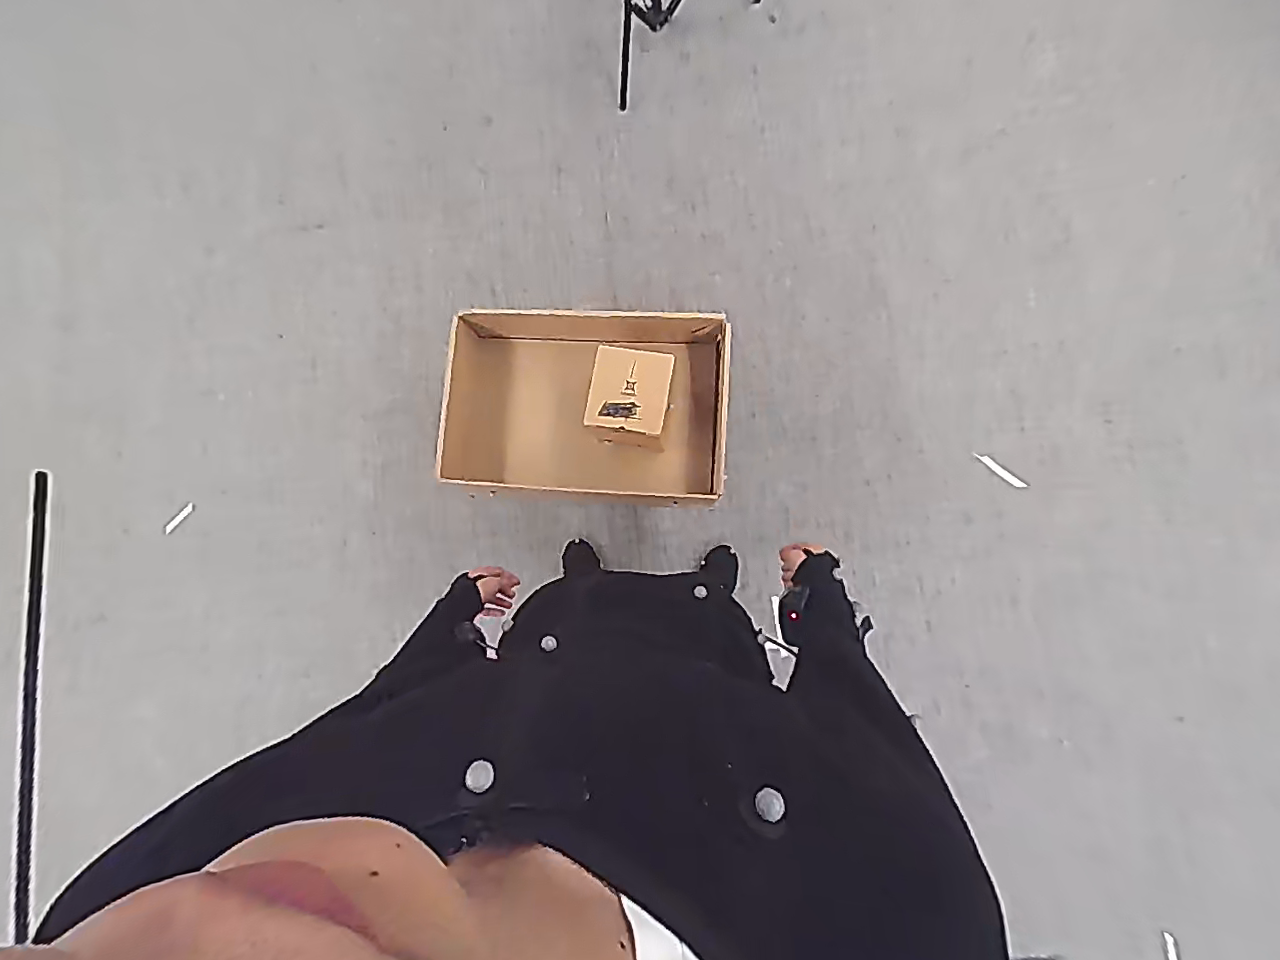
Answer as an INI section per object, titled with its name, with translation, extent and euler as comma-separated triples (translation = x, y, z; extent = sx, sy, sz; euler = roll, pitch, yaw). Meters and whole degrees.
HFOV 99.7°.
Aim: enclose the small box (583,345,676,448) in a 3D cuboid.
[small box]
translation = -0.014, -0.176, 1.194
extent = 0.168, 0.176, 0.179
euler = 10, 83, 7
